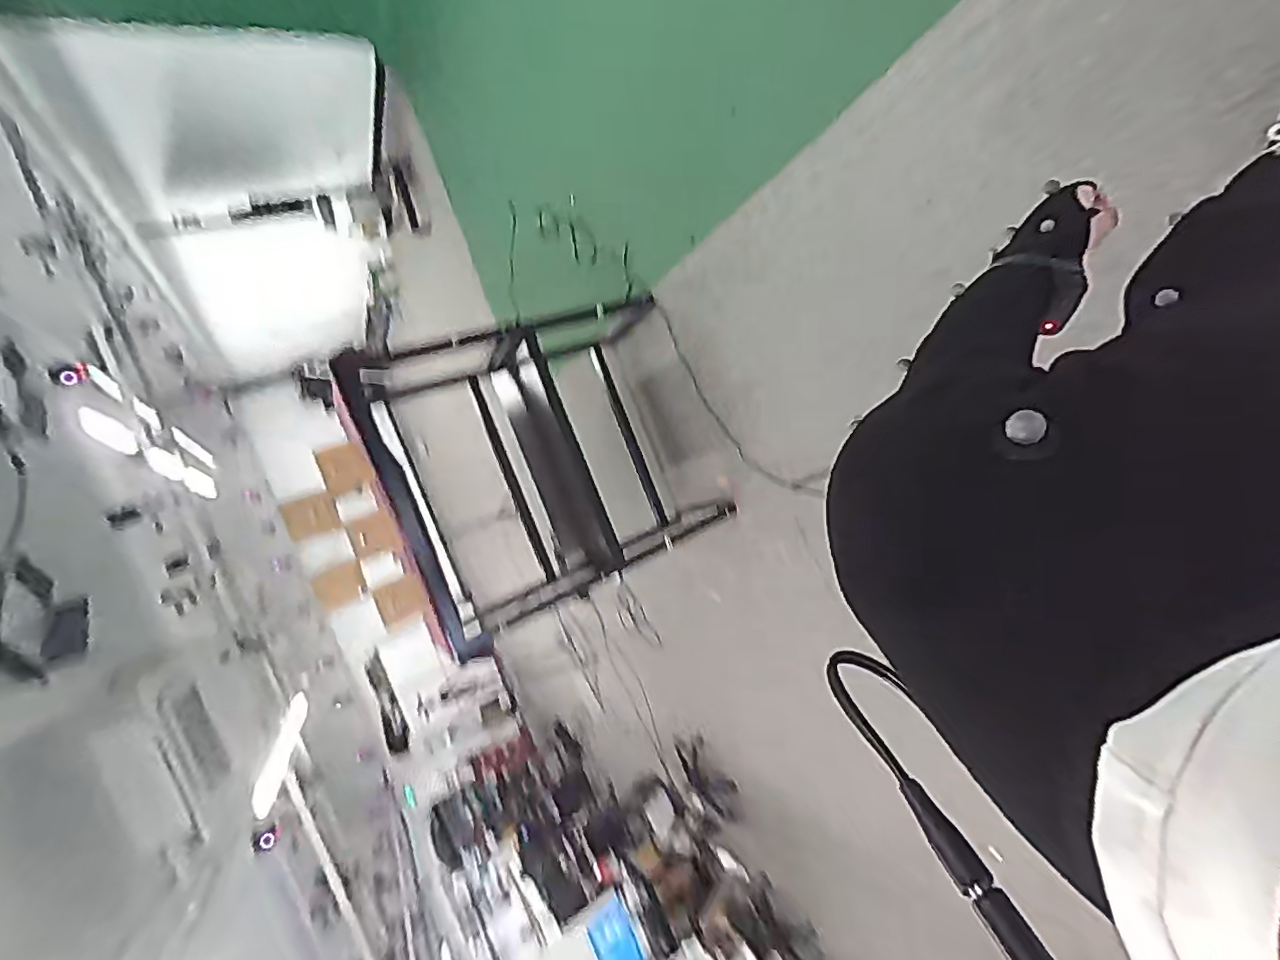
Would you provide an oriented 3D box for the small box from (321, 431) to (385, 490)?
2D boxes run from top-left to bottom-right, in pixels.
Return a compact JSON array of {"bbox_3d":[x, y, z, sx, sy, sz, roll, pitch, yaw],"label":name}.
[{"bbox_3d":[-1.104,-0.078,2.084,0.168,0.176,0.179,-17,97,63],"label":"small box"}]

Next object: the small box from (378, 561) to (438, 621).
[{"bbox_3d":[-0.906,0.431,2.111,0.168,0.176,0.179,-21,91,61],"label":"small box"}]

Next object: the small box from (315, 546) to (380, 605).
[{"bbox_3d":[-1.094,0.354,2.035,0.179,0.176,0.168,-13,98,63],"label":"small box"}]

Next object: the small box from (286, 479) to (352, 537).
[{"bbox_3d":[-1.192,0.104,2.023,0.179,0.176,0.168,-18,94,62],"label":"small box"}]

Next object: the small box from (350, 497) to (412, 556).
[{"bbox_3d":[-0.999,0.180,2.093,0.168,0.176,0.179,-17,95,62],"label":"small box"}]
